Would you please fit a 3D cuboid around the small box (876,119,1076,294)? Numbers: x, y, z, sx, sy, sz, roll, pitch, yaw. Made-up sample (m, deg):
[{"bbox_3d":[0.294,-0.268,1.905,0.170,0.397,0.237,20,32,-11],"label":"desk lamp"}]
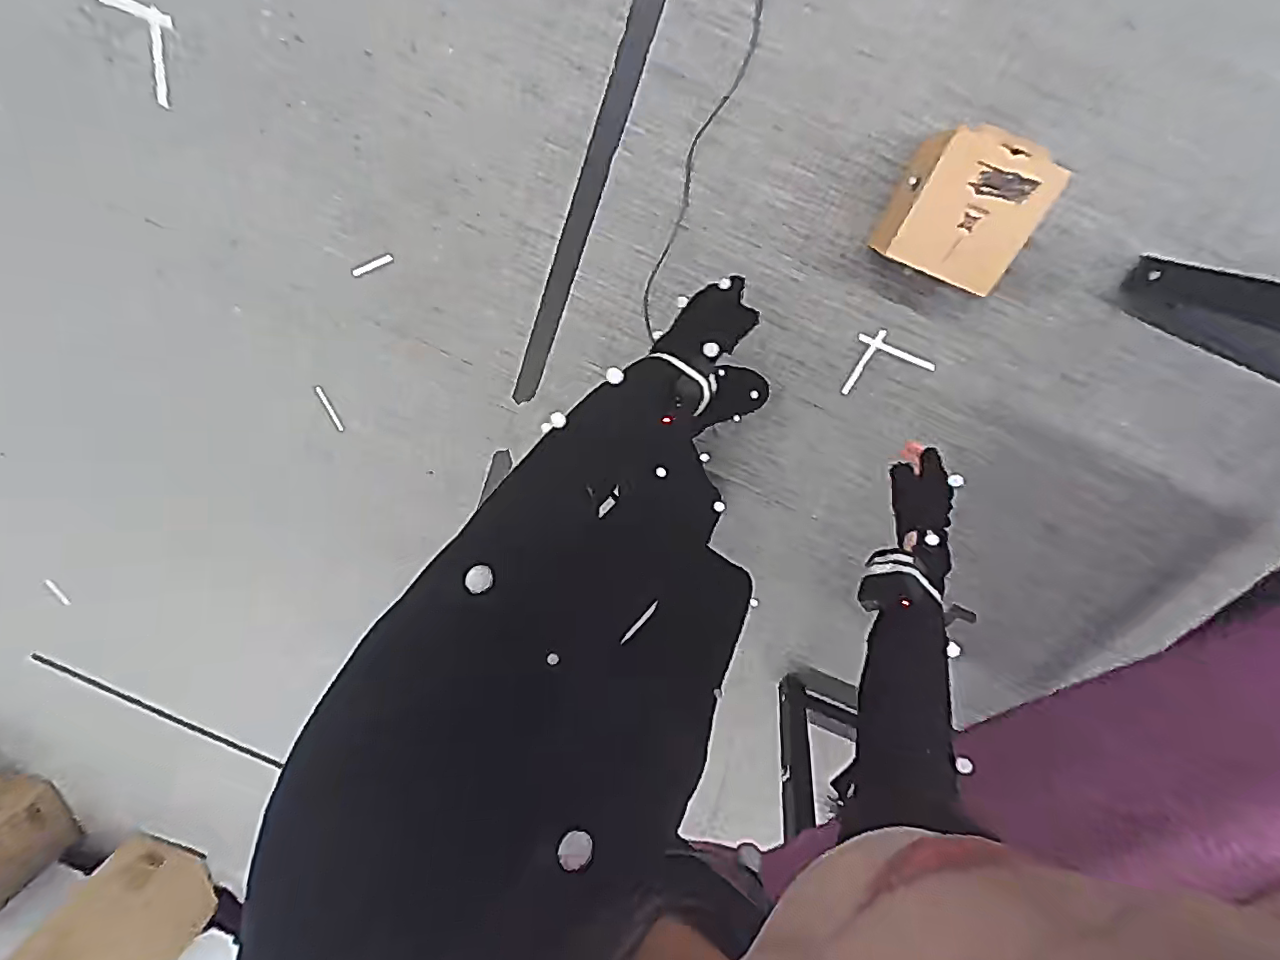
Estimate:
[{"bbox_3d":[0.483,-0.409,0.816,0.168,0.176,0.179,23,121,0],"label":"small box"}]
